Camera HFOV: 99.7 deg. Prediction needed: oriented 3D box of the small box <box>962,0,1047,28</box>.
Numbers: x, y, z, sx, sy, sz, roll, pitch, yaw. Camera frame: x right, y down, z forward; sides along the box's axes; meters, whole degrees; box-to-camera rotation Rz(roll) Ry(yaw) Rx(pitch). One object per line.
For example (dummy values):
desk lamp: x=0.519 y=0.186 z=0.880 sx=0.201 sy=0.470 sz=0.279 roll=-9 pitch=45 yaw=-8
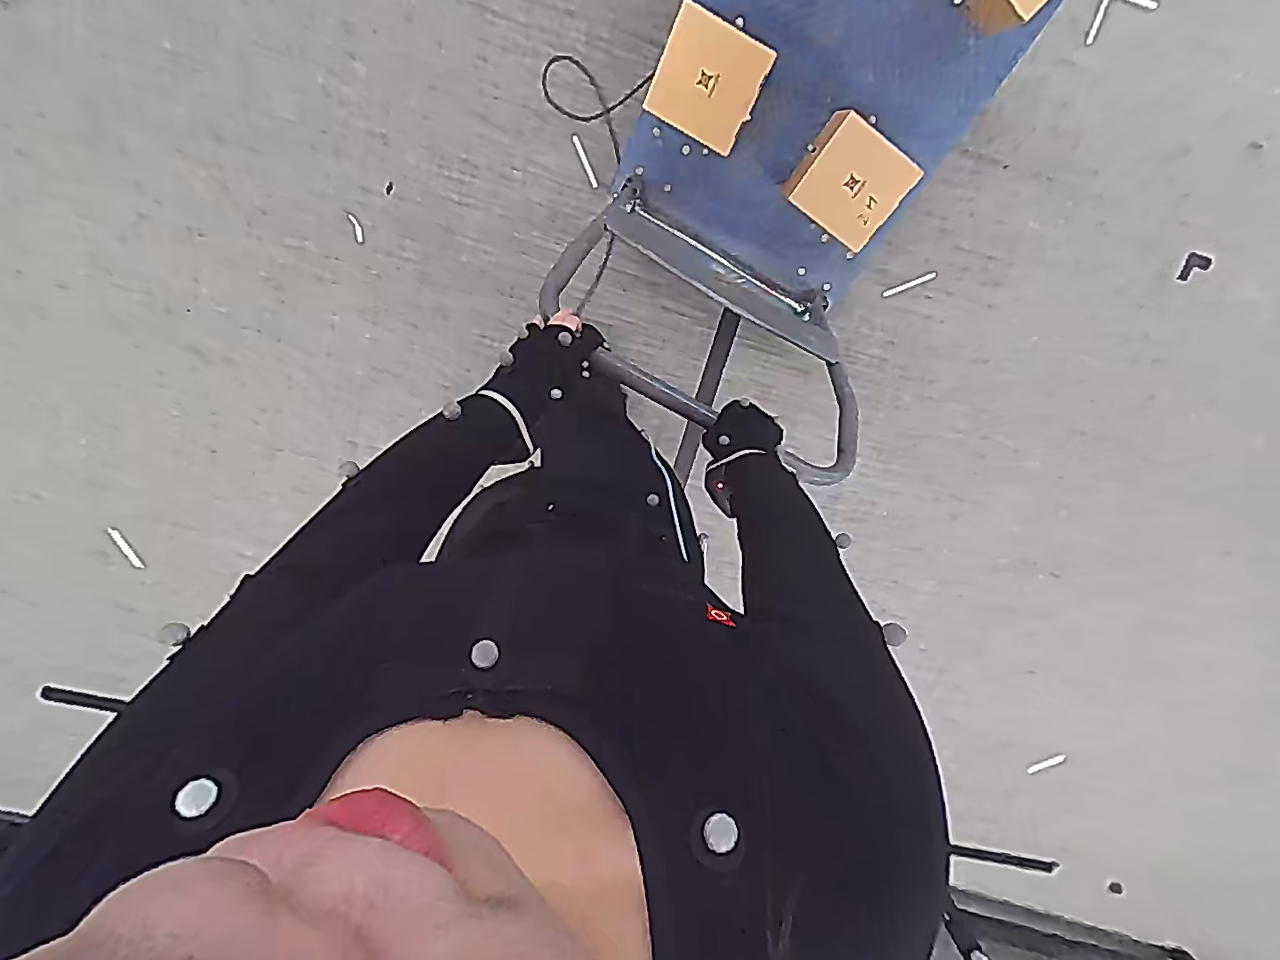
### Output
small box: x=0.598 y=-0.850 z=0.831 sx=0.168 sy=0.176 sz=0.179 roll=37 pitch=122 yaw=-16

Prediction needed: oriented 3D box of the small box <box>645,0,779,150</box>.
small box: x=0.126 y=-0.730 z=0.986 sx=0.179 sy=0.176 sz=0.168 roll=24 pitch=124 yaw=-10

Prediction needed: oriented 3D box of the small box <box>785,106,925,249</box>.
small box: x=0.401 y=-0.581 z=1.043 sx=0.179 sy=0.176 sz=0.168 roll=31 pitch=123 yaw=-12
